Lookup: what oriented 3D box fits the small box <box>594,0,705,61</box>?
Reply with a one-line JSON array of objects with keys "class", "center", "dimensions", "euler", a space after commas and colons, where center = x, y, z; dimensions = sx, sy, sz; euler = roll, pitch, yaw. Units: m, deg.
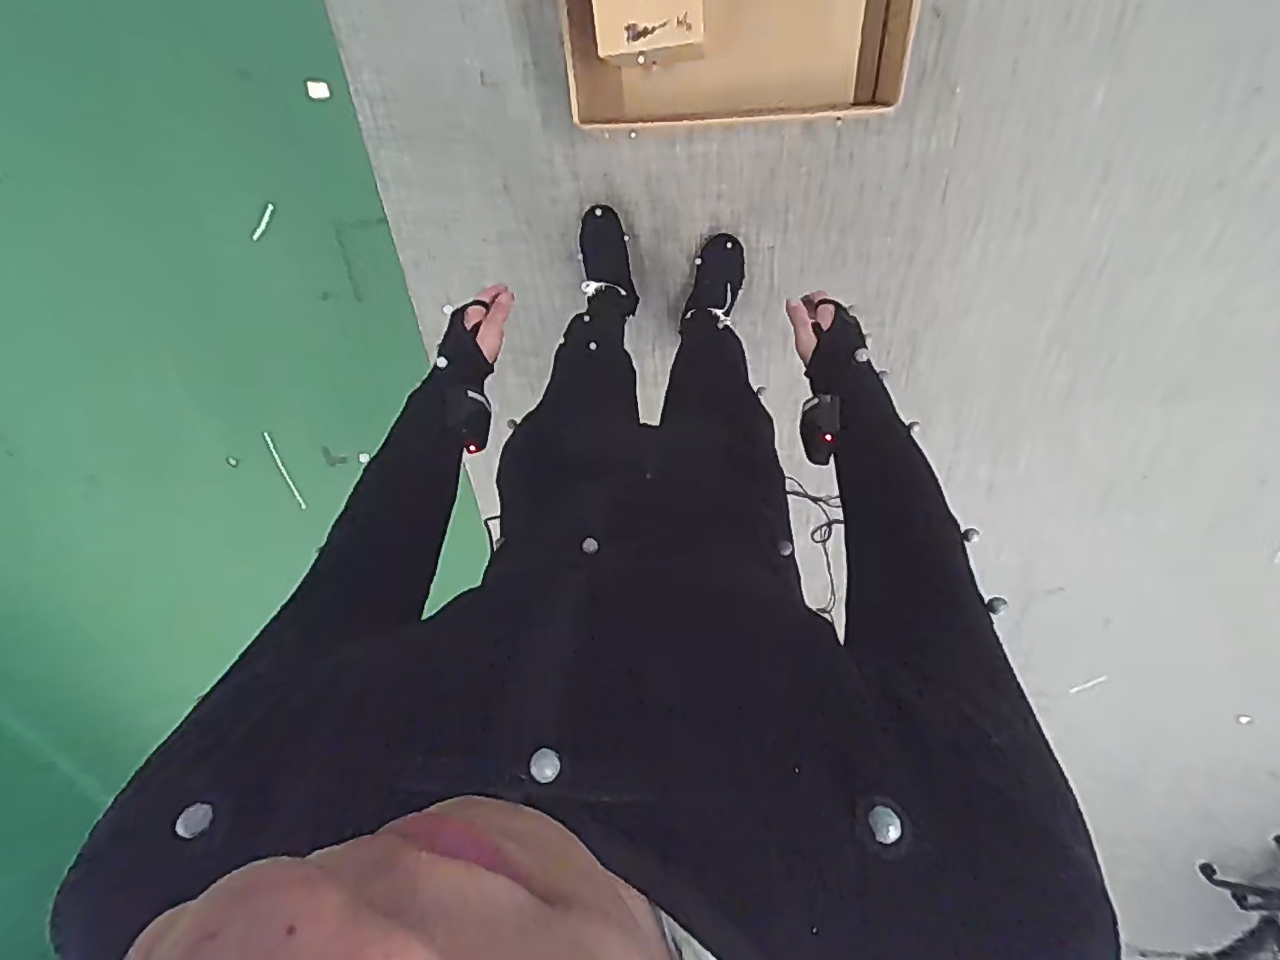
[{"class": "small box", "center": [0.016, -0.778, 0.841], "dimensions": [0.168, 0.176, 0.179], "euler": [-1, 123, 8]}]

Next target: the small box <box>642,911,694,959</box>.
[{"class": "small box", "center": [0.100, 1.610, 1.840], "dimensions": [0.168, 0.176, 0.179], "euler": [-1, 123, 7]}]
